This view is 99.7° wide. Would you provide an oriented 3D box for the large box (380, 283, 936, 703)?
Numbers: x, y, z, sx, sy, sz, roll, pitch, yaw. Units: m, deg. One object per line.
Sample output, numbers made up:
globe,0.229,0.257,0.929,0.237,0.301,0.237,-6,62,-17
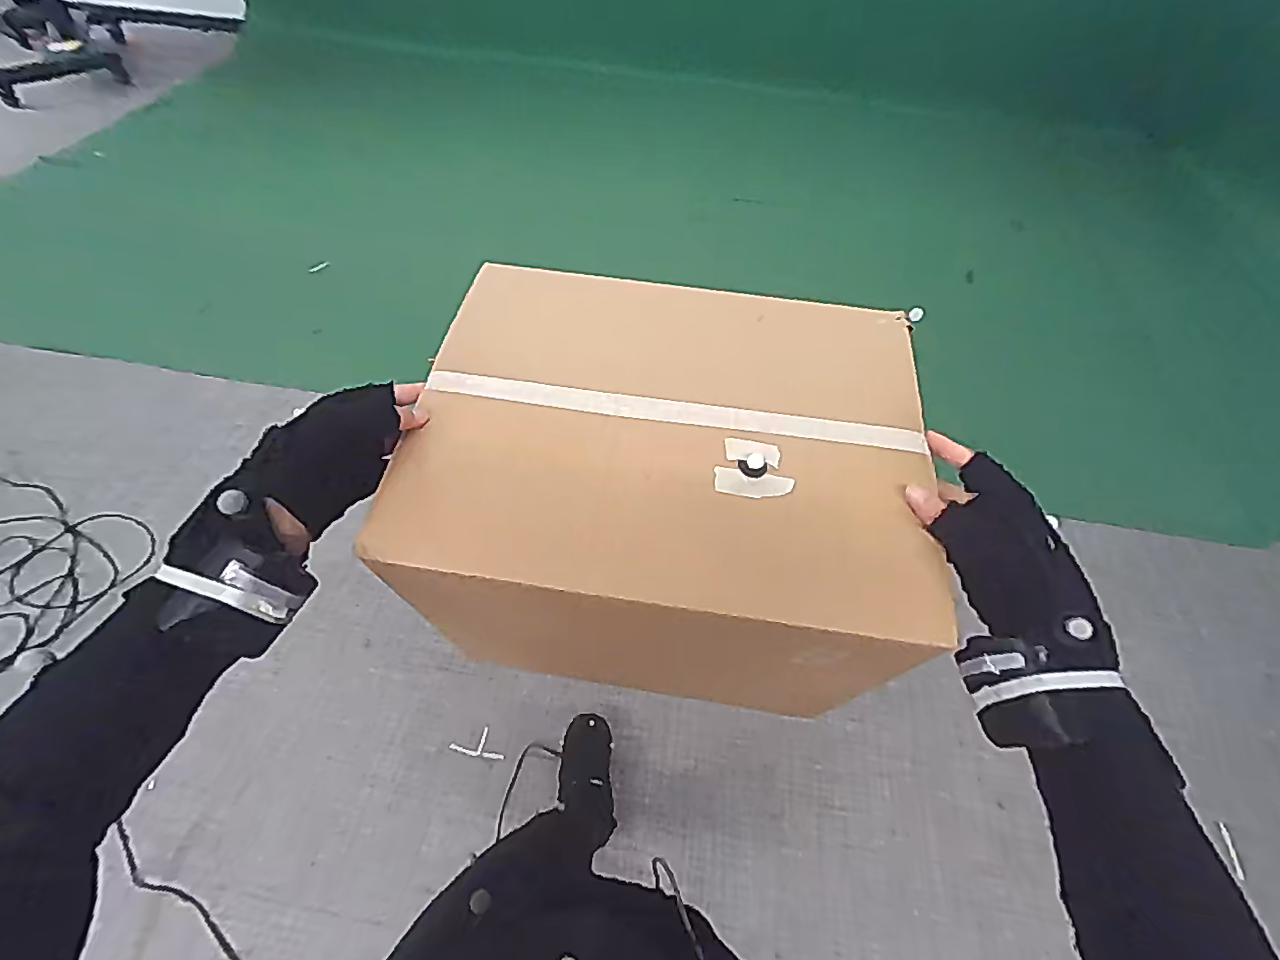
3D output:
large box,0.022,0.029,0.582,0.408,0.320,0.320,7,59,3
